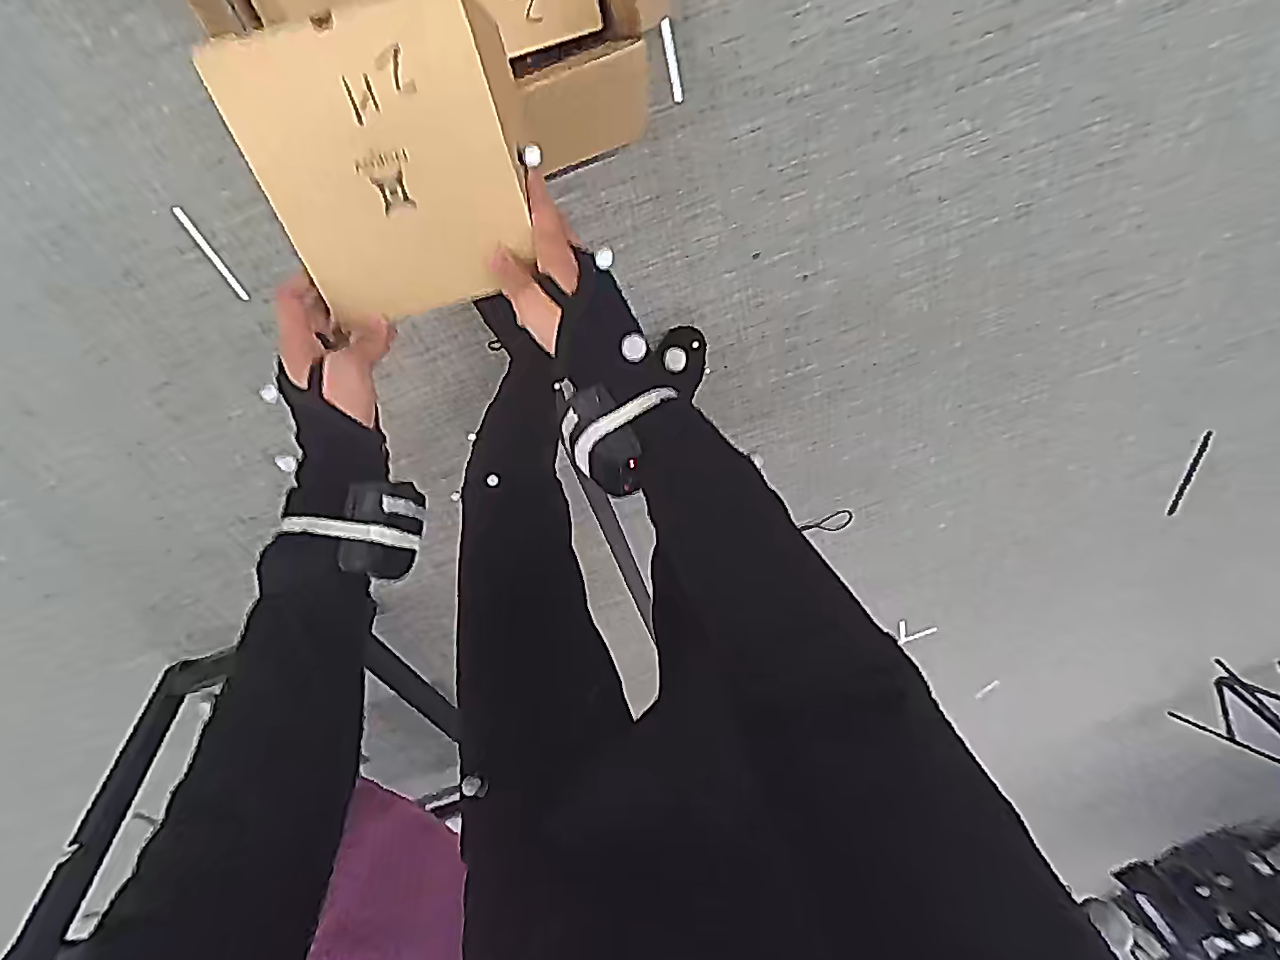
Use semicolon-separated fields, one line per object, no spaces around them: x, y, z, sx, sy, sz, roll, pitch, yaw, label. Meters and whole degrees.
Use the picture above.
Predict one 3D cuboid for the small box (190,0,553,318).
-0.171;-0.251;0.422;0.168;0.176;0.179;-13;123;3;small box
